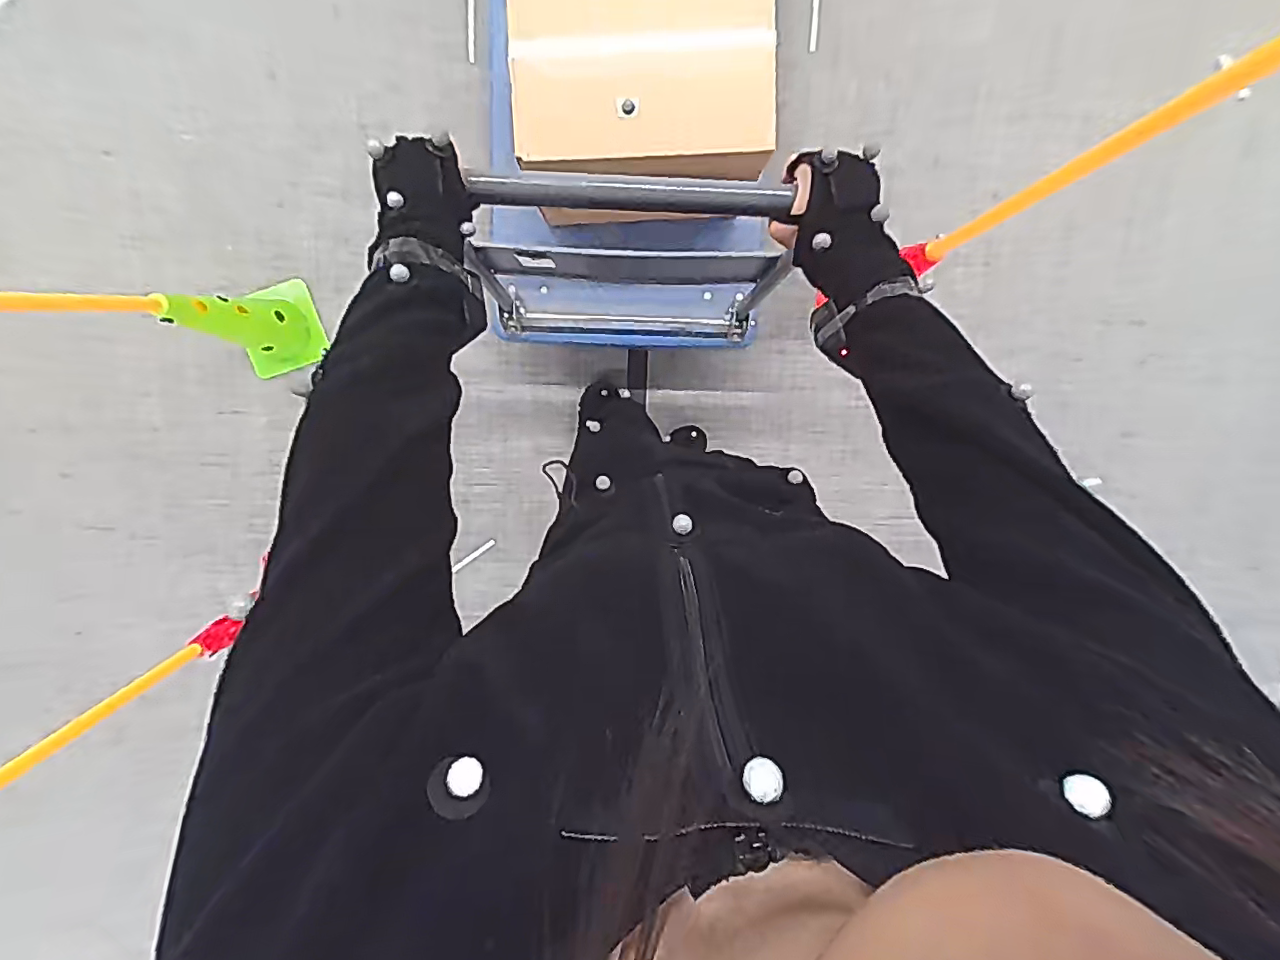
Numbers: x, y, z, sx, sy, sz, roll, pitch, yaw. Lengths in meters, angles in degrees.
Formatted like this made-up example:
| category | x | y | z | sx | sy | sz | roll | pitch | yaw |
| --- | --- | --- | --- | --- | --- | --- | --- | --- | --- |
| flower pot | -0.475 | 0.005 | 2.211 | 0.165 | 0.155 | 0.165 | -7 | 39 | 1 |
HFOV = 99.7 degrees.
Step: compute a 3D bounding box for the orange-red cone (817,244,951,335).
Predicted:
| category | x | y | z | sx | sy | sz | roll | pitch | yaw |
| --- | --- | --- | --- | --- | --- | --- | --- | --- | --- |
| orange-red cone | 0.554 | -0.445 | 1.170 | 0.199 | 0.360 | 0.198 | 8 | 98 | -3 |
